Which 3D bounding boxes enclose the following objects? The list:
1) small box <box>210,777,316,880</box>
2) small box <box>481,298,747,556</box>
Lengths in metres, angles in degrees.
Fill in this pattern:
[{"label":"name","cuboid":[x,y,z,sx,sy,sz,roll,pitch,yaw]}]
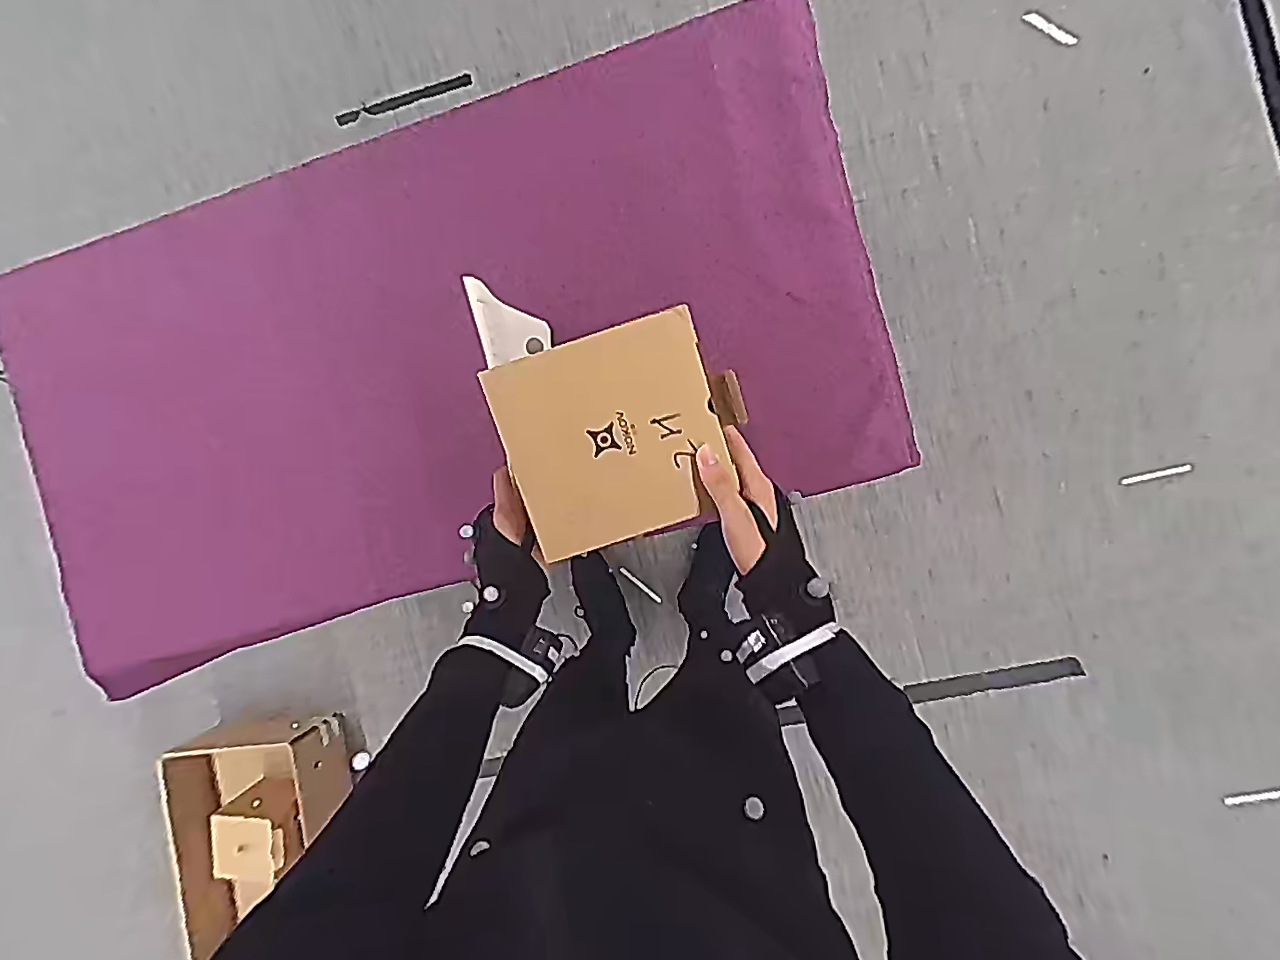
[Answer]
[{"label":"small box","cuboid":[-0.997,0.923,1.445,0.179,0.176,0.168,0,92,7]},{"label":"small box","cuboid":[-0.021,-0.047,0.507,0.179,0.176,0.168,-19,96,0]}]
